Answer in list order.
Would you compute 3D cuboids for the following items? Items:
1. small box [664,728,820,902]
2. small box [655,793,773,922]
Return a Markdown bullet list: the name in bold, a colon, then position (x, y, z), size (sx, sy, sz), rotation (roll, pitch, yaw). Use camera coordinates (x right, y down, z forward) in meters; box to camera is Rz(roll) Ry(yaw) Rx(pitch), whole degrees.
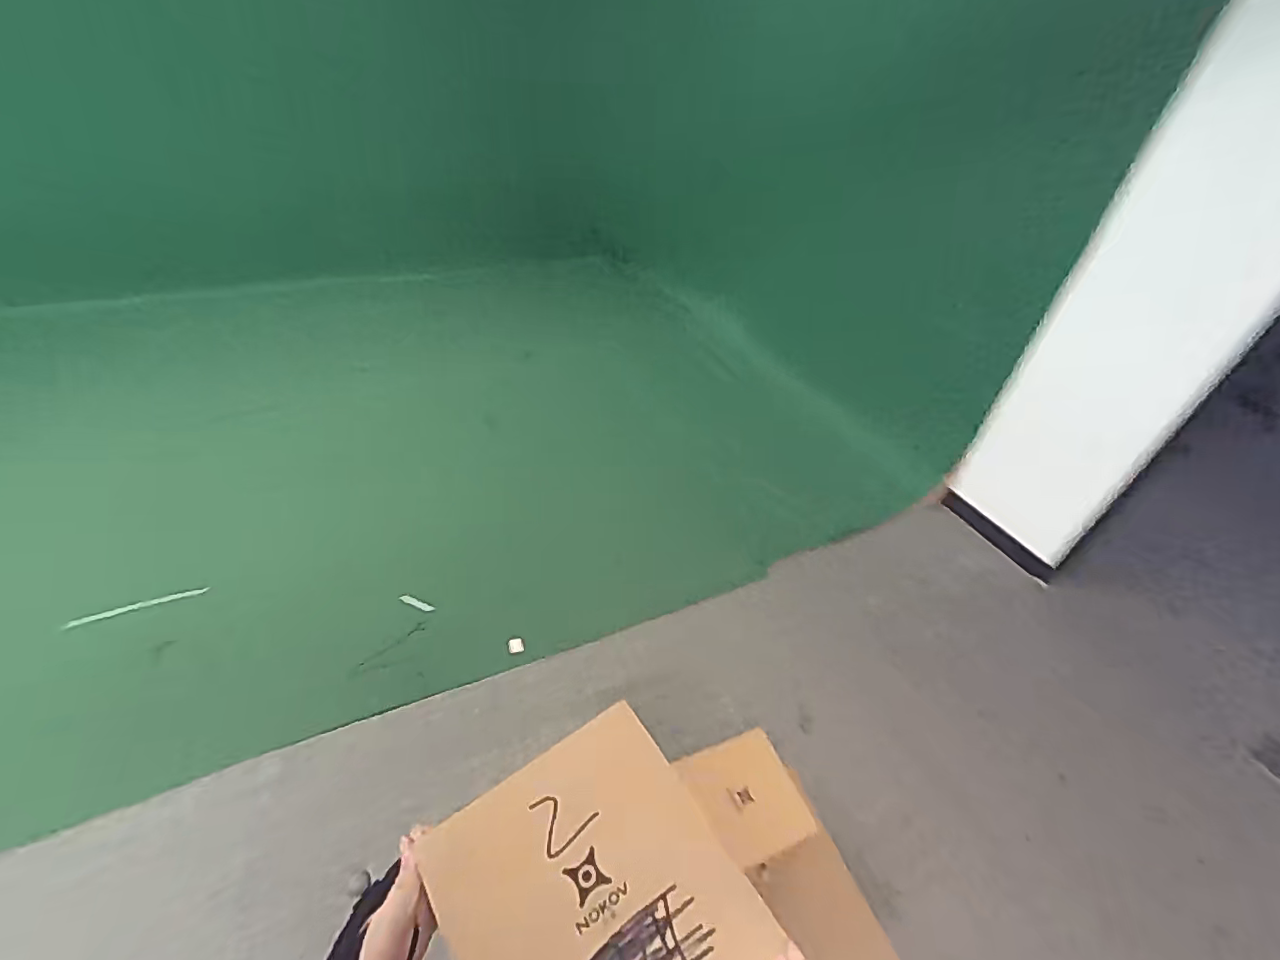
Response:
- **small box**: position (0.151, 0.537, 0.869), size (0.179, 0.176, 0.168), rotation (-12, 44, -17)
- **small box**: position (0.133, 0.658, 0.979), size (0.179, 0.176, 0.168), rotation (-10, 43, -19)
